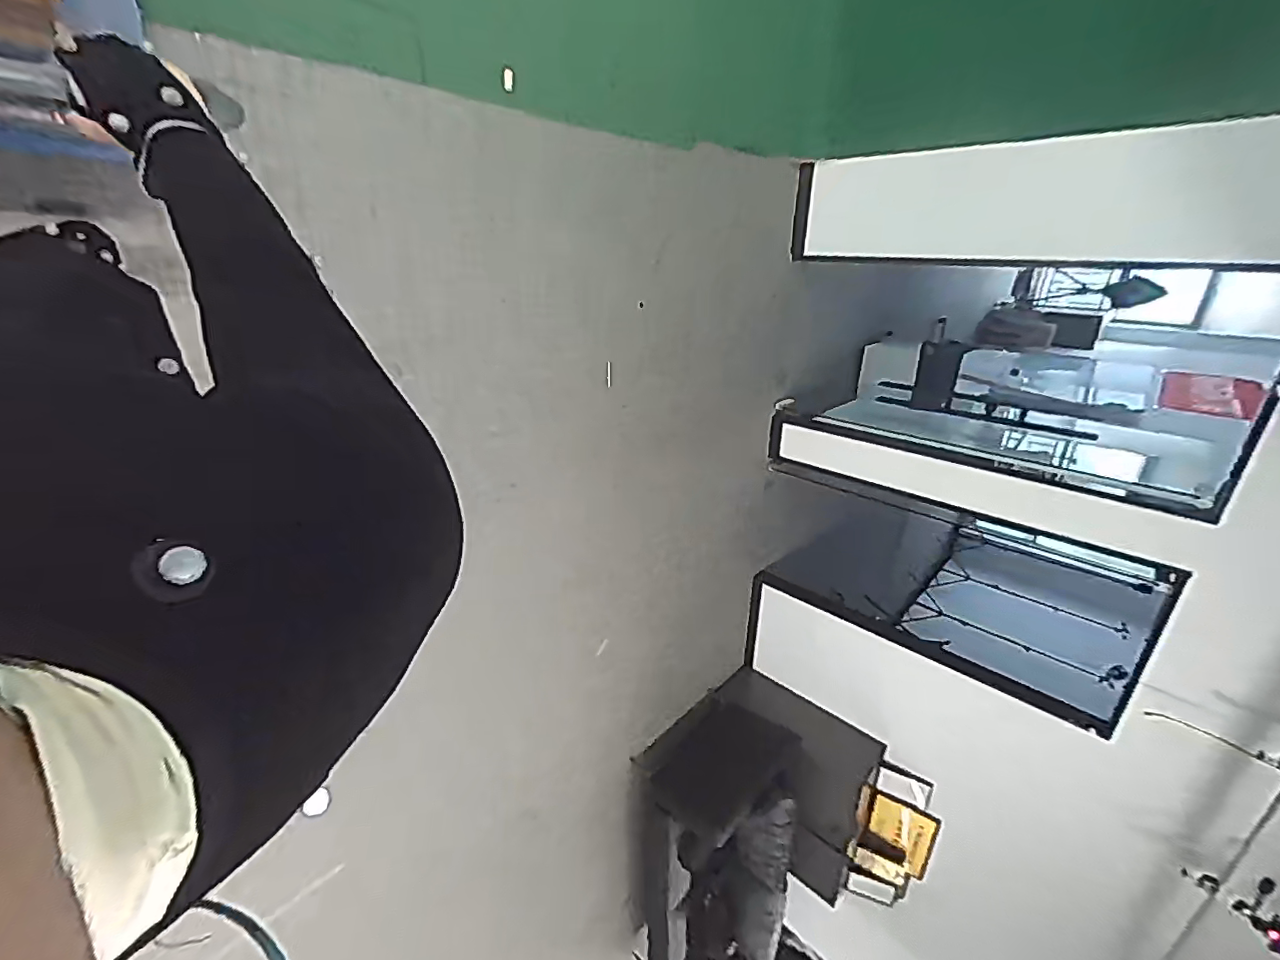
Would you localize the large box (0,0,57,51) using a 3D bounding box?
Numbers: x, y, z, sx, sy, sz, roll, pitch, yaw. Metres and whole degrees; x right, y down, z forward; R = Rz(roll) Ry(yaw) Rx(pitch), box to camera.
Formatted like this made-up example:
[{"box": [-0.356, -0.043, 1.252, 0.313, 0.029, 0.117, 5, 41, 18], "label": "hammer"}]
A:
[{"box": [-0.979, -0.812, 0.634, 0.320, 0.320, 0.408, -21, 121, -43], "label": "large box"}]
